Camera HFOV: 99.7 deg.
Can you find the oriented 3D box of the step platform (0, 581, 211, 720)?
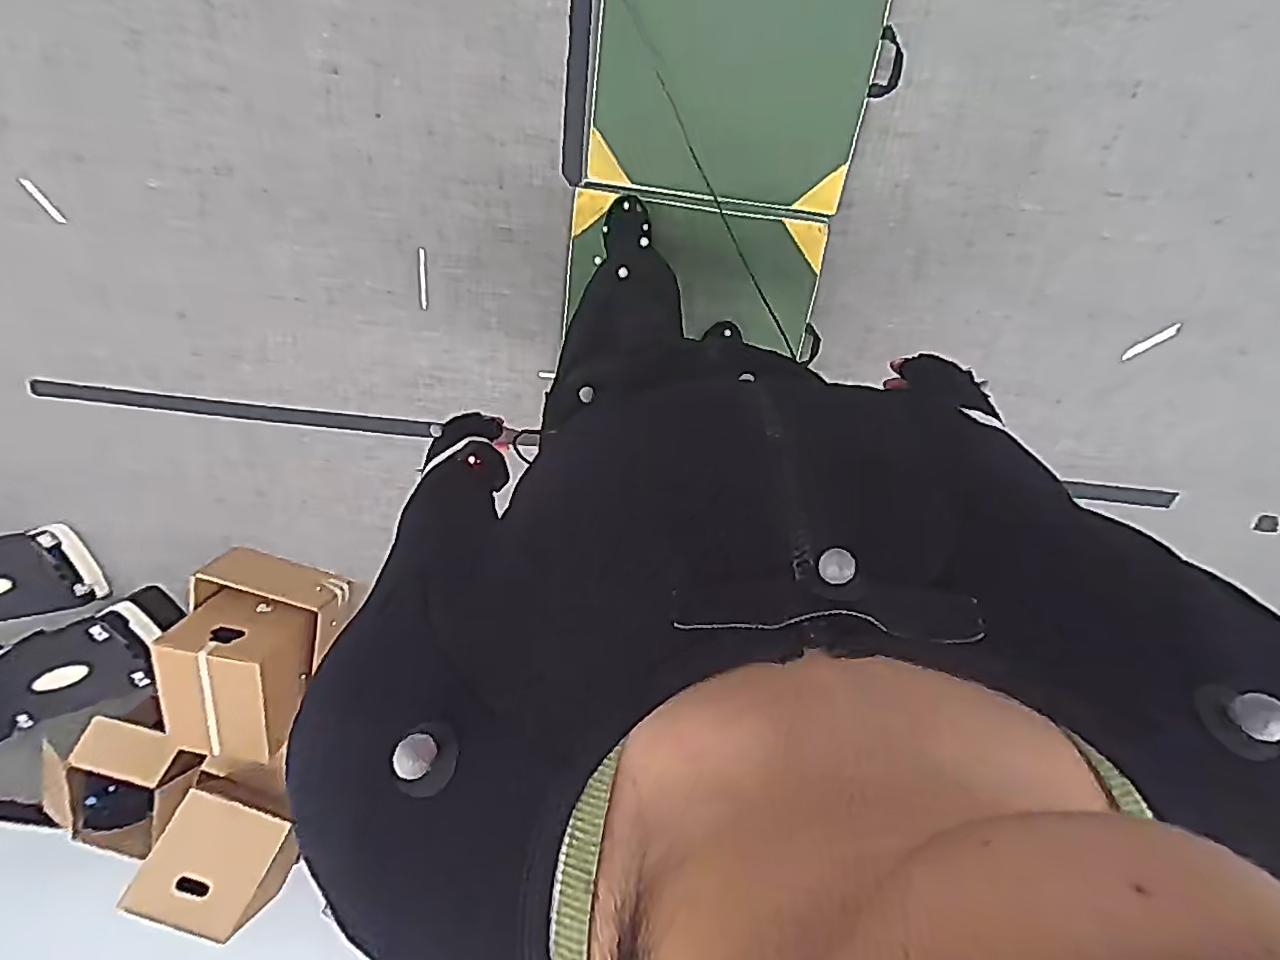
[{"bbox_3d":[-1.900,0.602,1.892,0.684,0.204,0.286,-21,110,11],"label":"step platform"}]
